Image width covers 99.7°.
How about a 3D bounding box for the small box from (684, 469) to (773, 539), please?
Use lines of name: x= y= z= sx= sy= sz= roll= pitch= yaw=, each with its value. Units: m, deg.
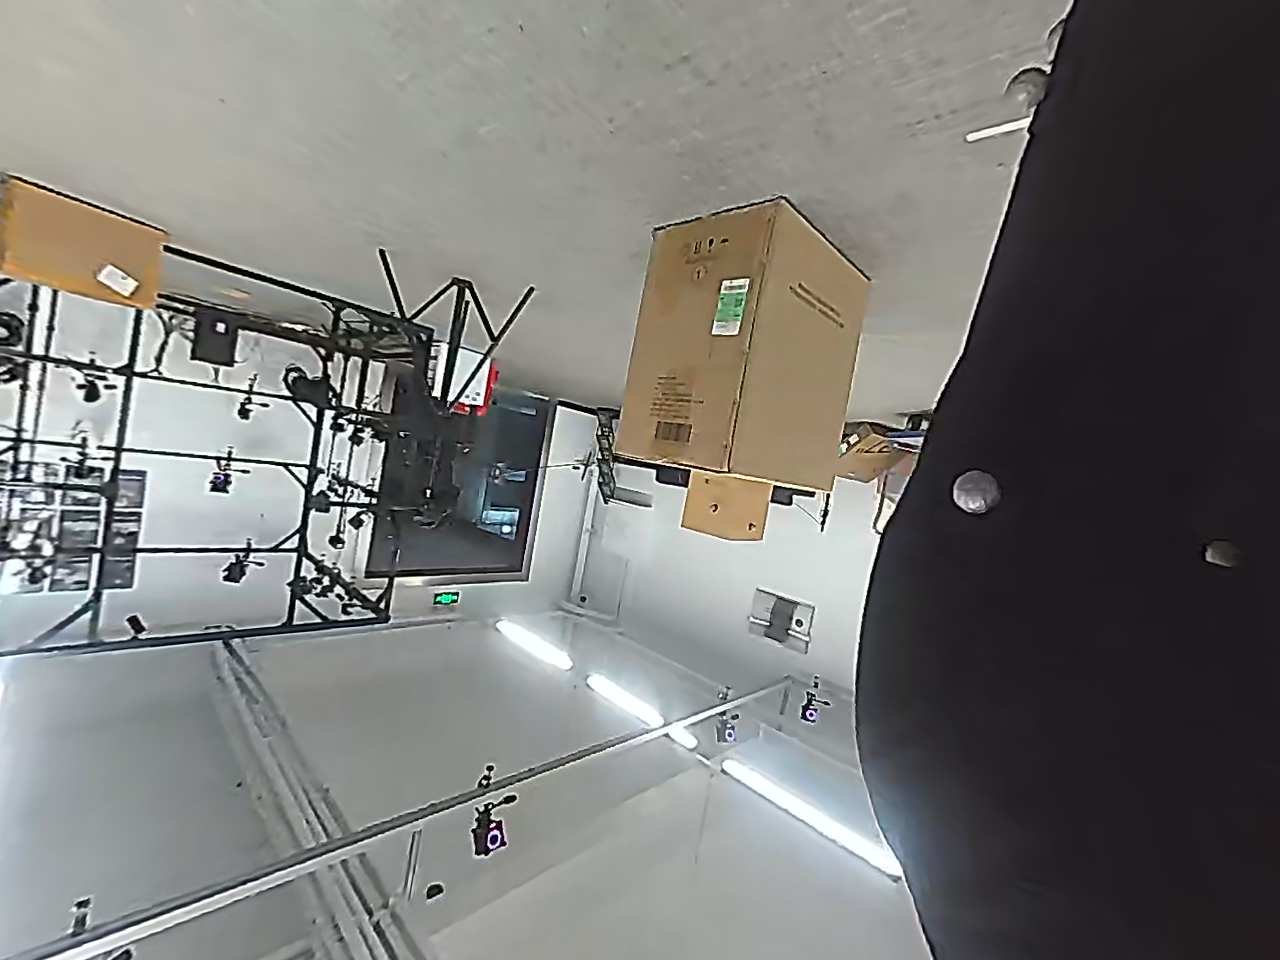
small box: x=0.247 y=0.064 z=1.503 sx=0.168 sy=0.176 sz=0.179 roll=11 pitch=-177 yaw=44
